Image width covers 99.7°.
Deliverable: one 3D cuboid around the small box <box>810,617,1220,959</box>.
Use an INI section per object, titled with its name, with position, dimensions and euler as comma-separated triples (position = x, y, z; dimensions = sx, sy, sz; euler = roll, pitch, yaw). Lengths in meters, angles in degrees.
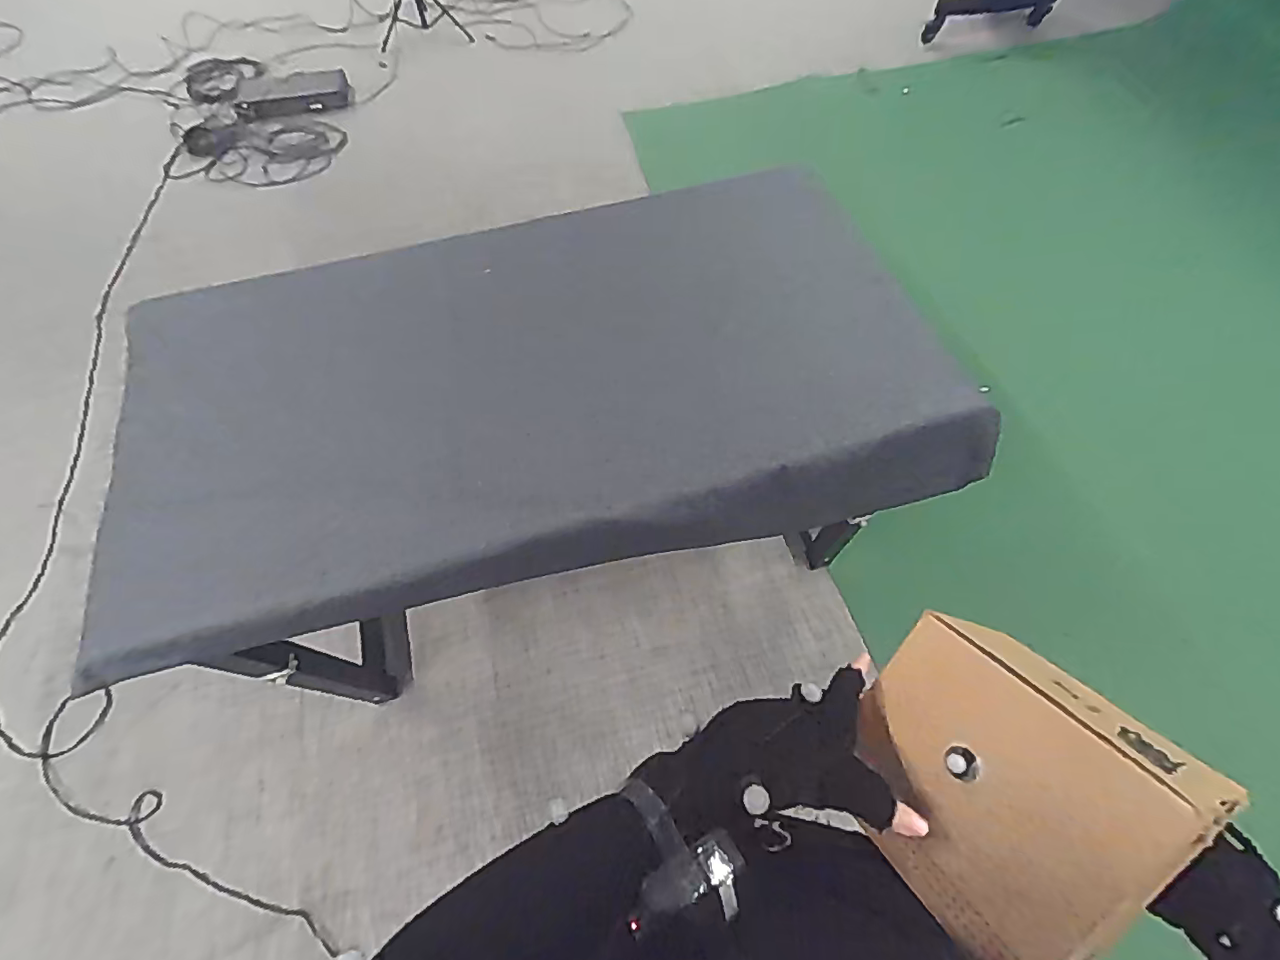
[small box]
position = 0.276, 0.239, 0.424
dimensions = 0.176, 0.168, 0.179
euler = -60, 35, 11
